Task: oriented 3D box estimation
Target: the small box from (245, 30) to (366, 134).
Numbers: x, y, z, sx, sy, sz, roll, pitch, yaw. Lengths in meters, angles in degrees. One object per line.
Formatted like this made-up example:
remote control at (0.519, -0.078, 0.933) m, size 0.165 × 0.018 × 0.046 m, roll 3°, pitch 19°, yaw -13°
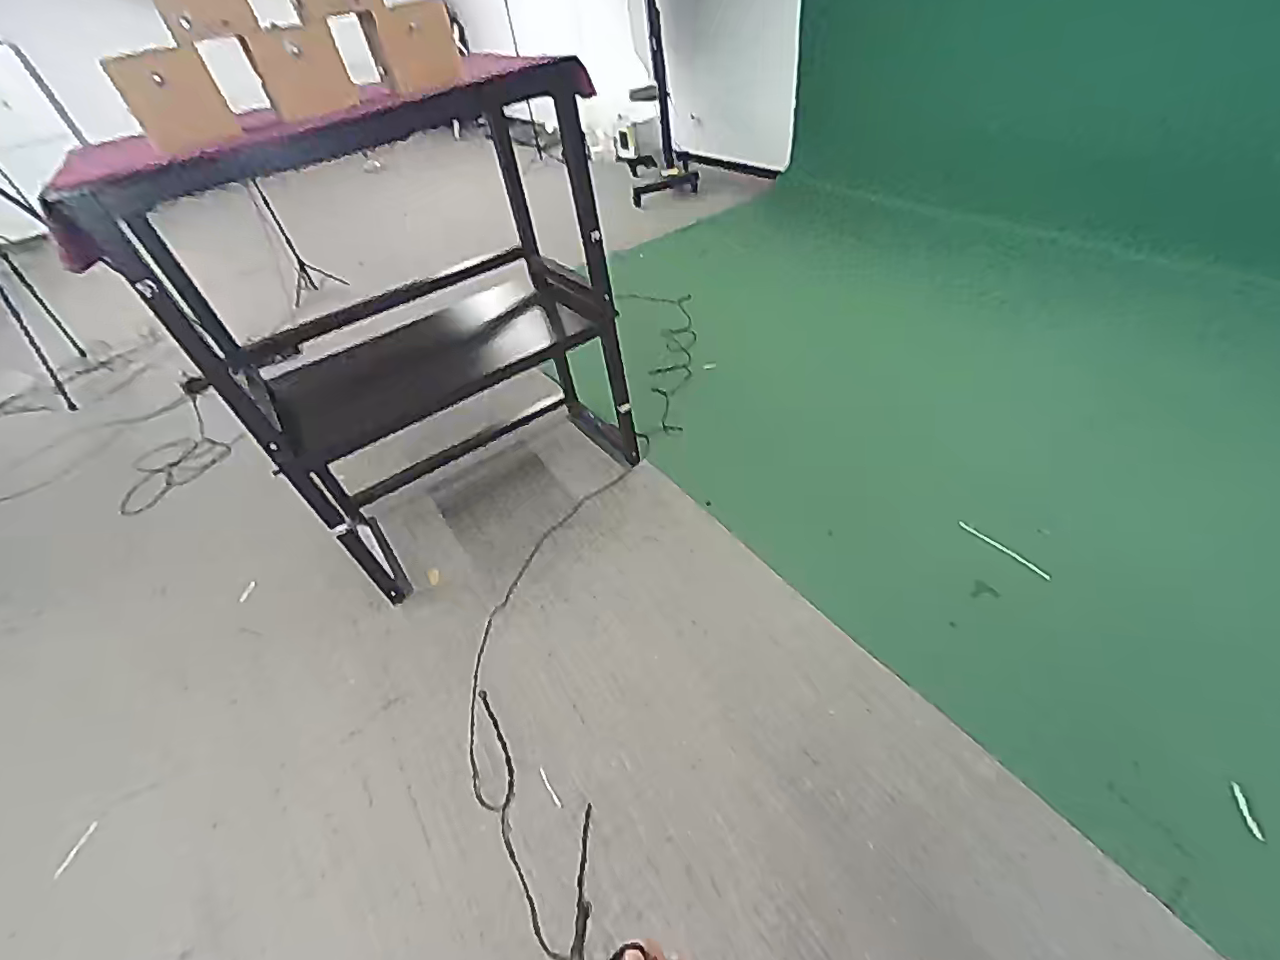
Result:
small box at (-0.789, -0.940, 1.282) m, size 0.179 × 0.176 × 0.168 m, roll -31°, pitch 47°, yaw -20°

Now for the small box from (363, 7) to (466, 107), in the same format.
small box at (-0.566, -1.077, 1.379) m, size 0.179 × 0.176 × 0.168 m, roll -32°, pitch 47°, yaw -19°

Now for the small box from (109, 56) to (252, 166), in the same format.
small box at (-1.010, -0.815, 1.196) m, size 0.179 × 0.176 × 0.168 m, roll -32°, pitch 48°, yaw -21°

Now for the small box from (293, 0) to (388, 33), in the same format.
small box at (-0.704, -1.134, 1.228) m, size 0.168 × 0.176 × 0.179 m, roll -31°, pitch 47°, yaw -20°

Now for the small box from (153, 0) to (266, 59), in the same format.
small box at (-0.921, -1.005, 1.137) m, size 0.168 × 0.176 × 0.179 m, roll -29°, pitch 45°, yaw -19°
